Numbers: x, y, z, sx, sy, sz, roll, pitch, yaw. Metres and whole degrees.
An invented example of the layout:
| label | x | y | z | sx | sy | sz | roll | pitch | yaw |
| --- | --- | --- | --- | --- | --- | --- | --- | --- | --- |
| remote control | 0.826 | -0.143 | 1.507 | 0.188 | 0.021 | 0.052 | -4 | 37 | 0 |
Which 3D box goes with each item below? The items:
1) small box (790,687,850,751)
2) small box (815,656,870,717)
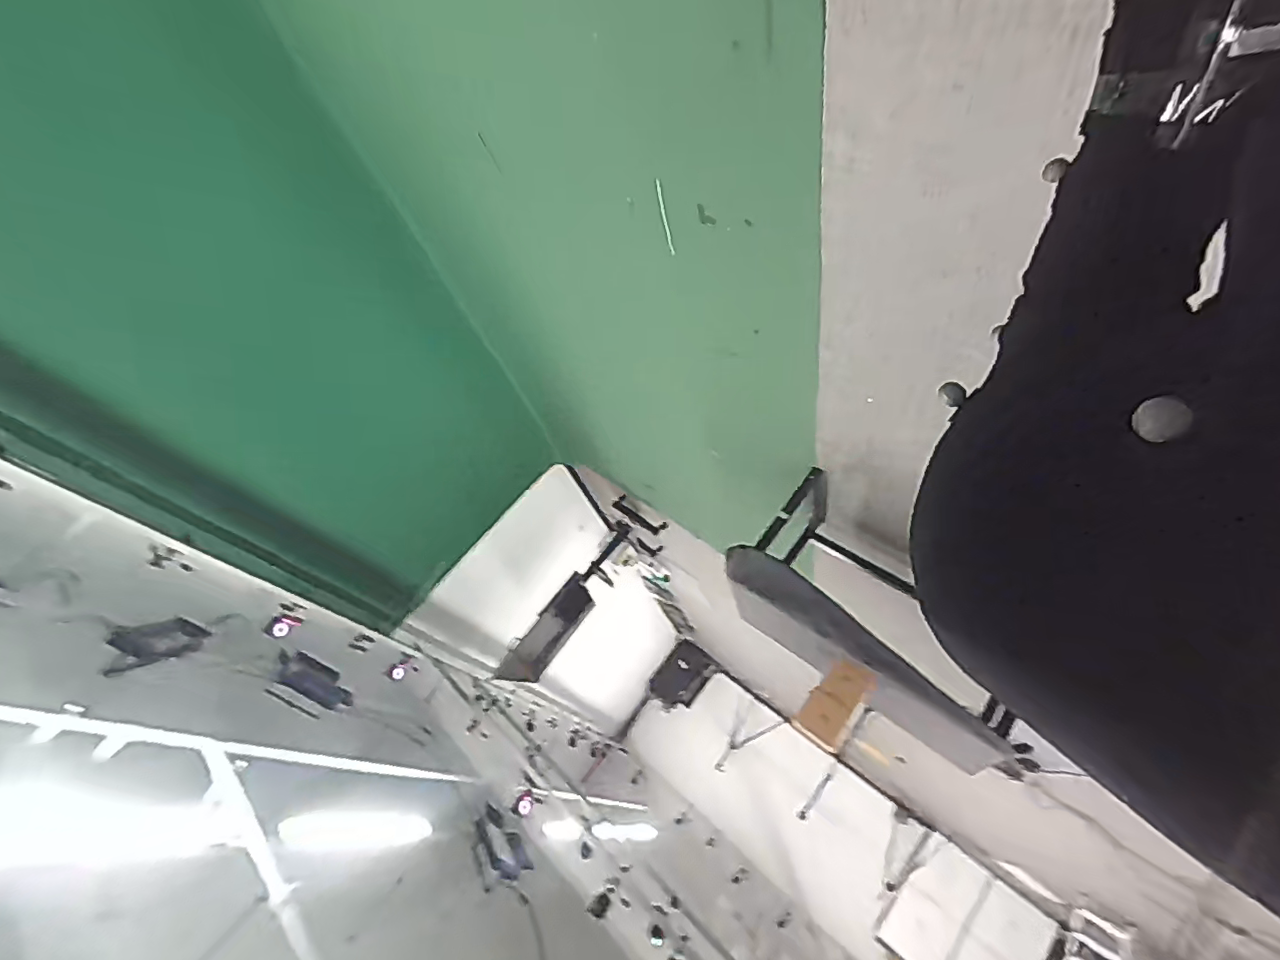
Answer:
| label | x | y | z | sx | sy | sz | roll | pitch | yaw |
| --- | --- | --- | --- | --- | --- | --- | --- | --- | --- |
| small box | 0.753 | 0.993 | 2.263 | 0.179 | 0.176 | 0.168 | 32 | 162 | 34 |
| small box | 0.865 | 0.881 | 2.311 | 0.168 | 0.176 | 0.179 | 32 | 161 | 32 |
